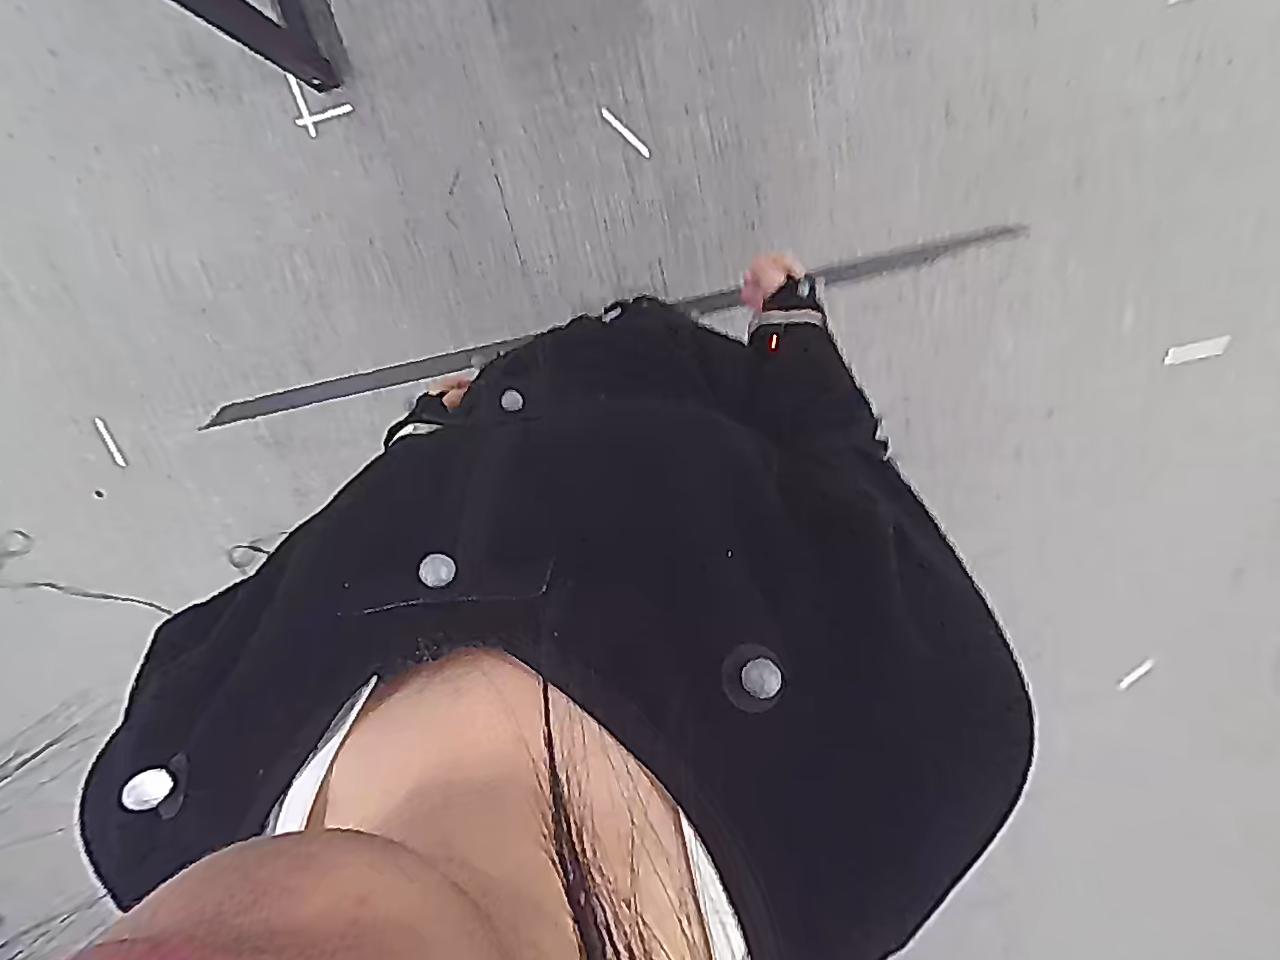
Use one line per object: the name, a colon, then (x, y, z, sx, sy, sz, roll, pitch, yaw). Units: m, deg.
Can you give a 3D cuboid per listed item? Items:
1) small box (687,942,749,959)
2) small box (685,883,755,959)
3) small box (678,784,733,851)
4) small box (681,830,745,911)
small box: (0.216, 1.345, 1.393, 0.168, 0.176, 0.179, -6, 107, 1)
small box: (0.228, 1.294, 1.549, 0.179, 0.176, 0.168, -6, 107, 2)
small box: (0.223, 1.175, 1.853, 0.179, 0.176, 0.168, -6, 108, 2)
small box: (0.226, 1.236, 1.700, 0.179, 0.176, 0.168, -3, 108, 1)
